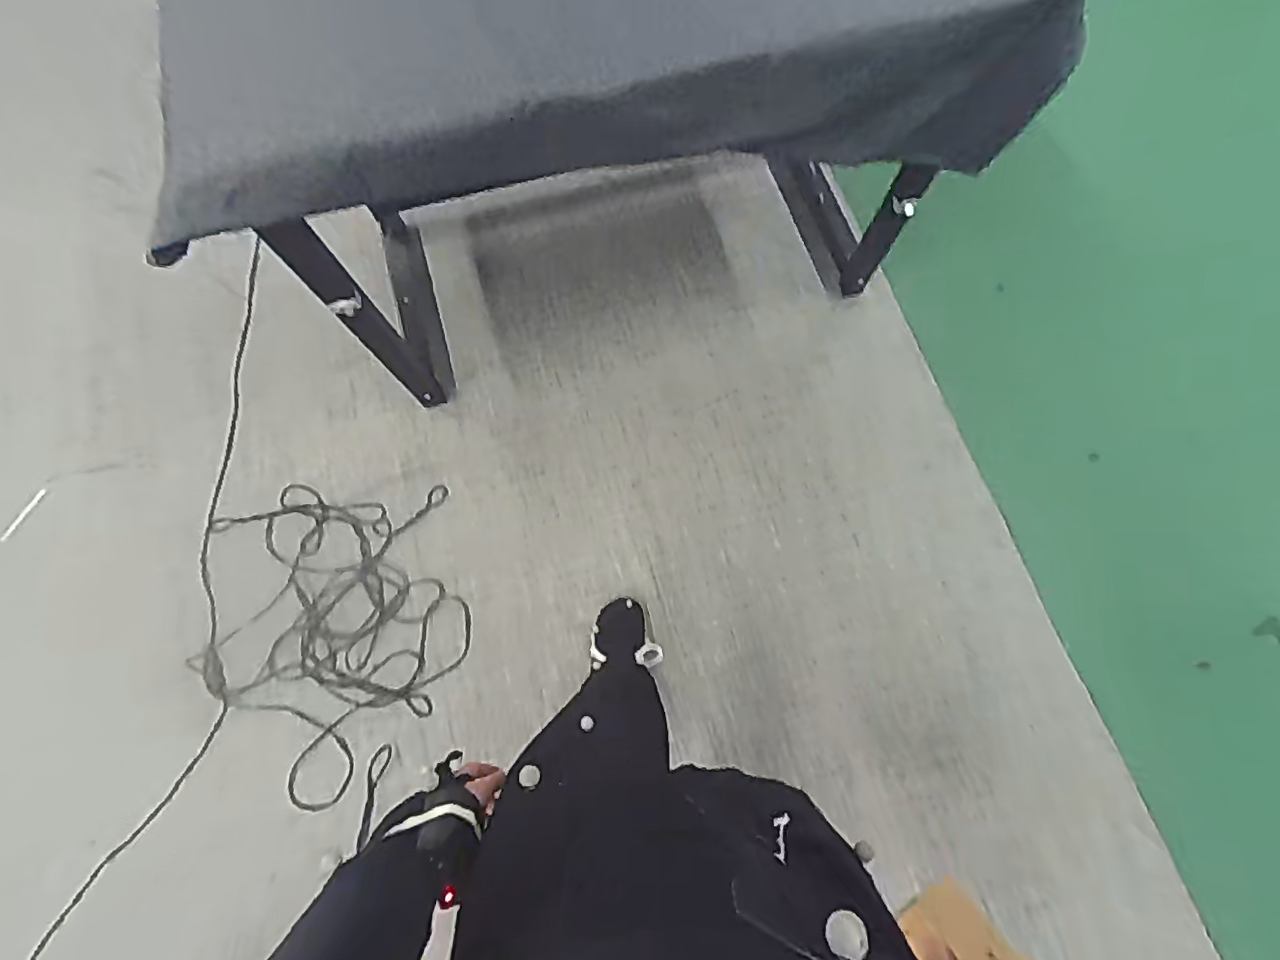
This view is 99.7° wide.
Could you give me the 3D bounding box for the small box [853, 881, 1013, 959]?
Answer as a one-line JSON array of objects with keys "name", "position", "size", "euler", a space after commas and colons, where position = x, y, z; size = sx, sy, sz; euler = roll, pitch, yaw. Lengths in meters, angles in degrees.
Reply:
[{"name": "small box", "position": [0.328, 0.588, 0.588], "size": [0.176, 0.179, 0.168], "euler": [-49, 46, 9]}]
